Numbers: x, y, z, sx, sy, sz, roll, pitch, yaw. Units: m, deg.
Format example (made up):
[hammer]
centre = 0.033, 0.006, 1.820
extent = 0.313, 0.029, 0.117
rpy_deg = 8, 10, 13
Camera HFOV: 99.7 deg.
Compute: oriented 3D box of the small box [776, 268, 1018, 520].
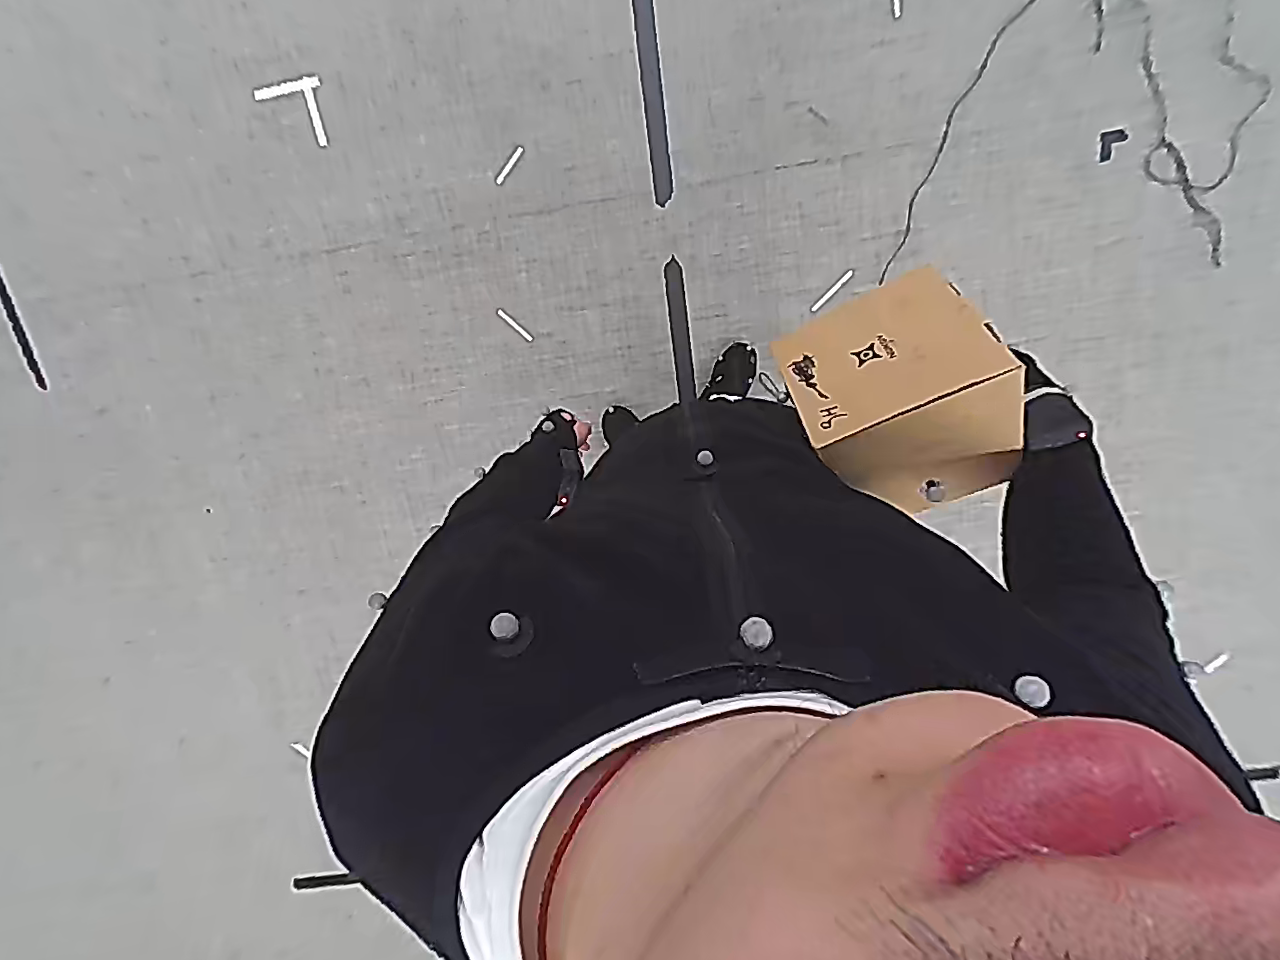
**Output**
[small box]
centre = 0.271, -0.084, 0.586
extent = 0.179, 0.168, 0.176
rpy_deg = -23, 137, 18
